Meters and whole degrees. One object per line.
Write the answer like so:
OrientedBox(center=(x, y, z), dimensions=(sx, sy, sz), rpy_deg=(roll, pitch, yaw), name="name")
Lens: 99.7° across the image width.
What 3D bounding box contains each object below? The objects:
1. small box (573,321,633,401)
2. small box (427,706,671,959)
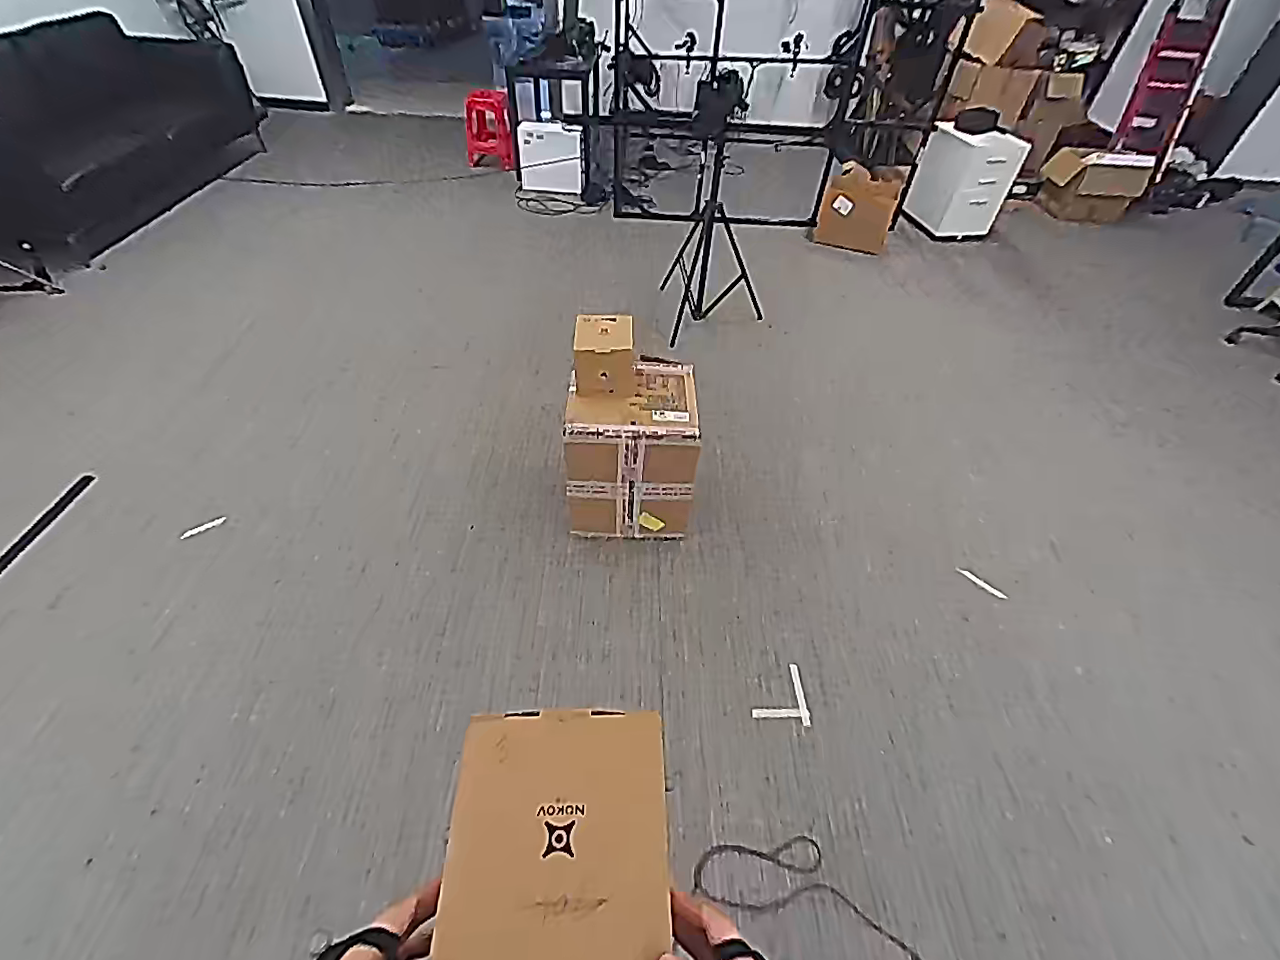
OrientedBox(center=(-0.105, -0.351, 1.606), dimensions=(0.168, 0.176, 0.179), rpy_deg=(0, 49, -2), name="small box")
OrientedBox(center=(-0.066, 0.314, 0.473), dimensions=(0.168, 0.176, 0.179), rpy_deg=(1, 51, -3), name="small box")
